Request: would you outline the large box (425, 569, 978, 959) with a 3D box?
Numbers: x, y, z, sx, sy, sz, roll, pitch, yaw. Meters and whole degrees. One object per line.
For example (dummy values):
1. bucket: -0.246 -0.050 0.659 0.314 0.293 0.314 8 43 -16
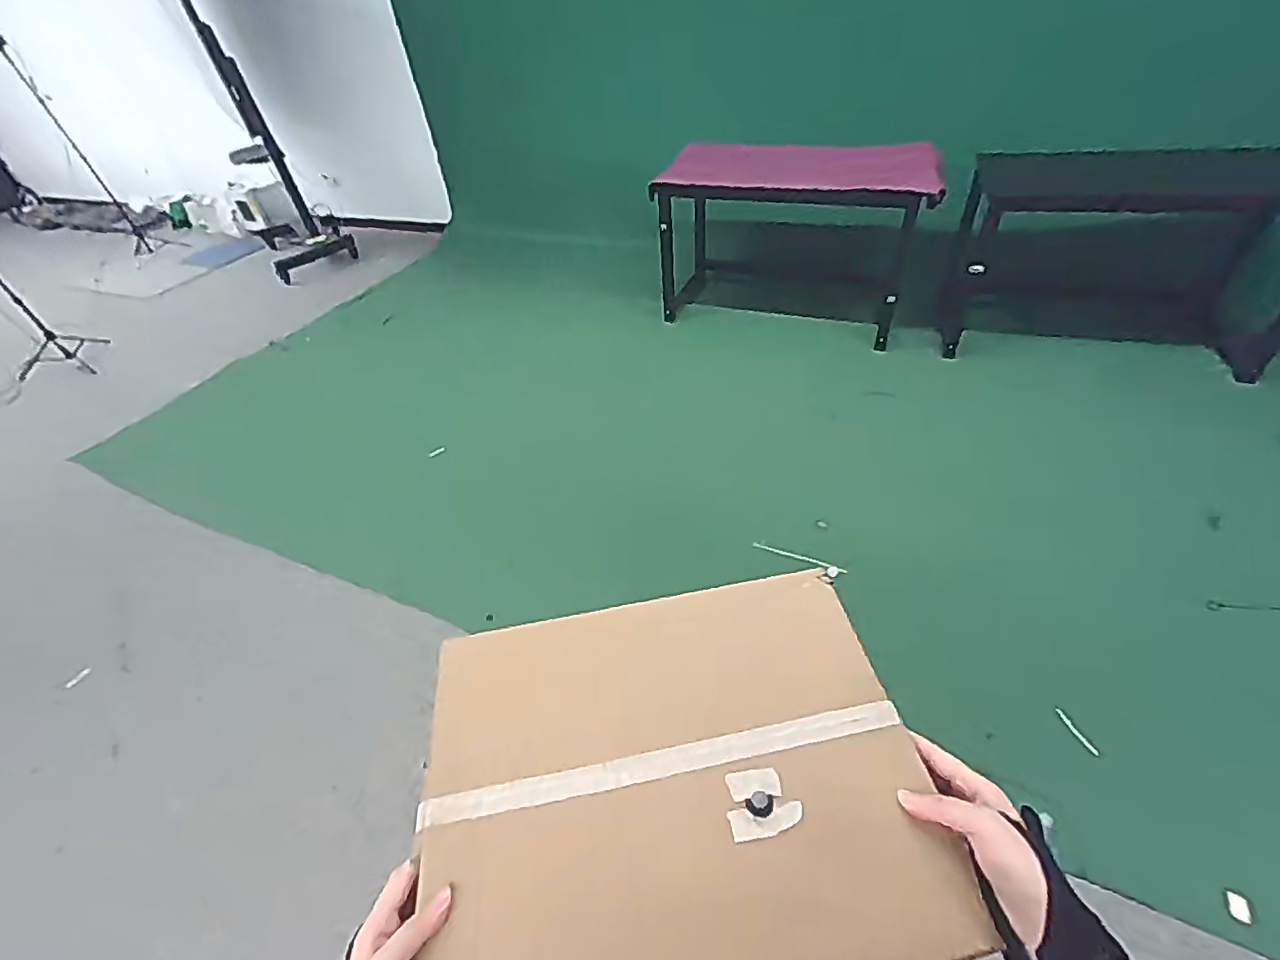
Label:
1. large box: 0.031 0.342 0.575 0.408 0.320 0.320 -10 46 -5
